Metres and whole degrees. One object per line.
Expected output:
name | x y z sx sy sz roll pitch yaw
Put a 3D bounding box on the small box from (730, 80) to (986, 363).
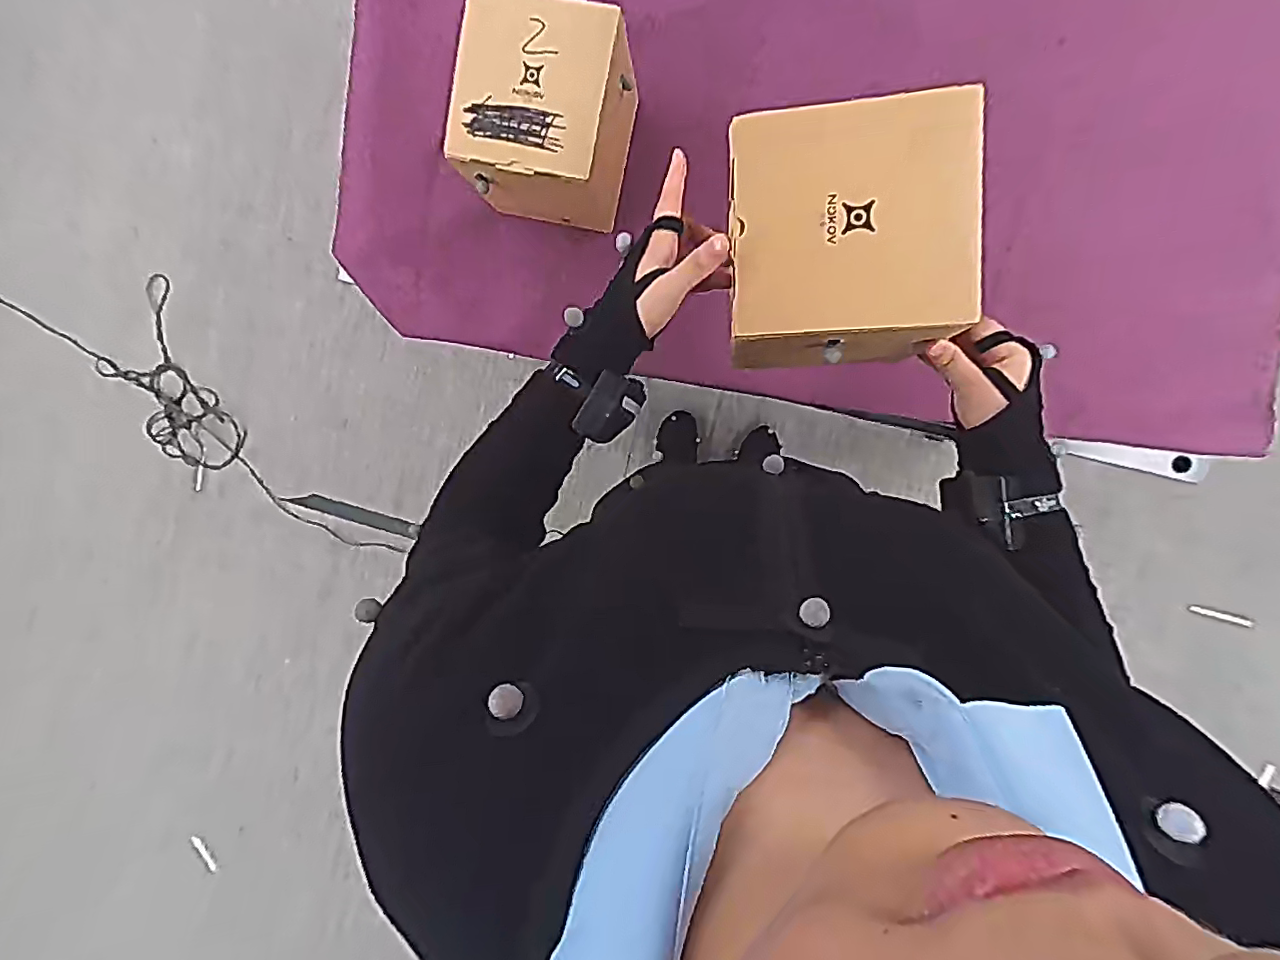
small box | 0.168 -0.198 0.469 0.179 0.176 0.168 -1 93 11
